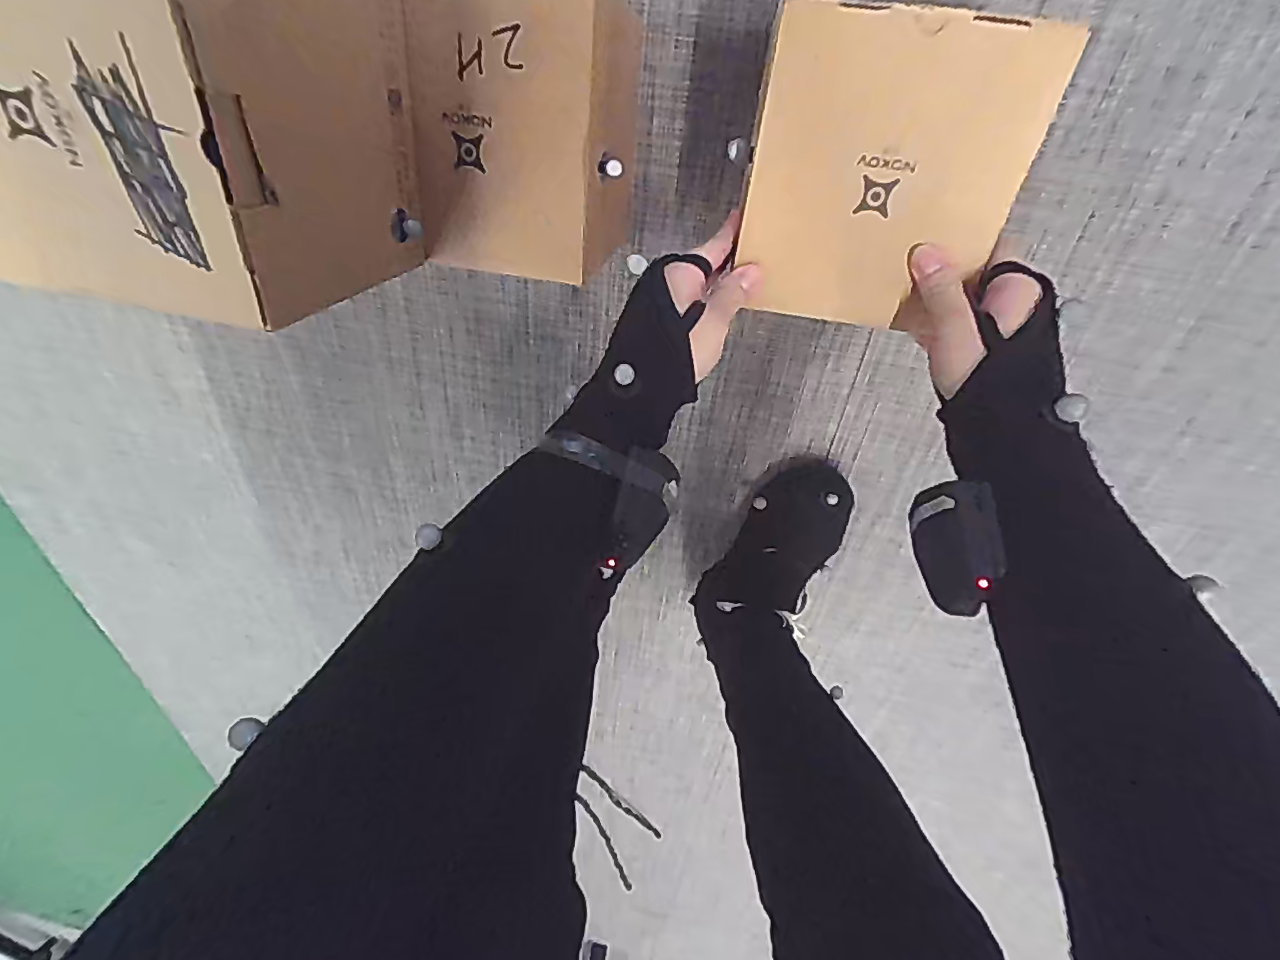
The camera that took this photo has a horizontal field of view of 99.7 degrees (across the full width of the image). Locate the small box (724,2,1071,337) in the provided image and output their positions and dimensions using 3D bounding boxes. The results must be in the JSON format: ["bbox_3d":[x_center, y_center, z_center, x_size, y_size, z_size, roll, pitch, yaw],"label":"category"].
[{"bbox_3d":[0.165,-0.232,0.416,0.168,0.176,0.179,10,124,5],"label":"small box"}]

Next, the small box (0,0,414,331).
[{"bbox_3d":[-0.250,-0.205,0.313,0.179,0.176,0.168,12,124,4],"label":"small box"}]
